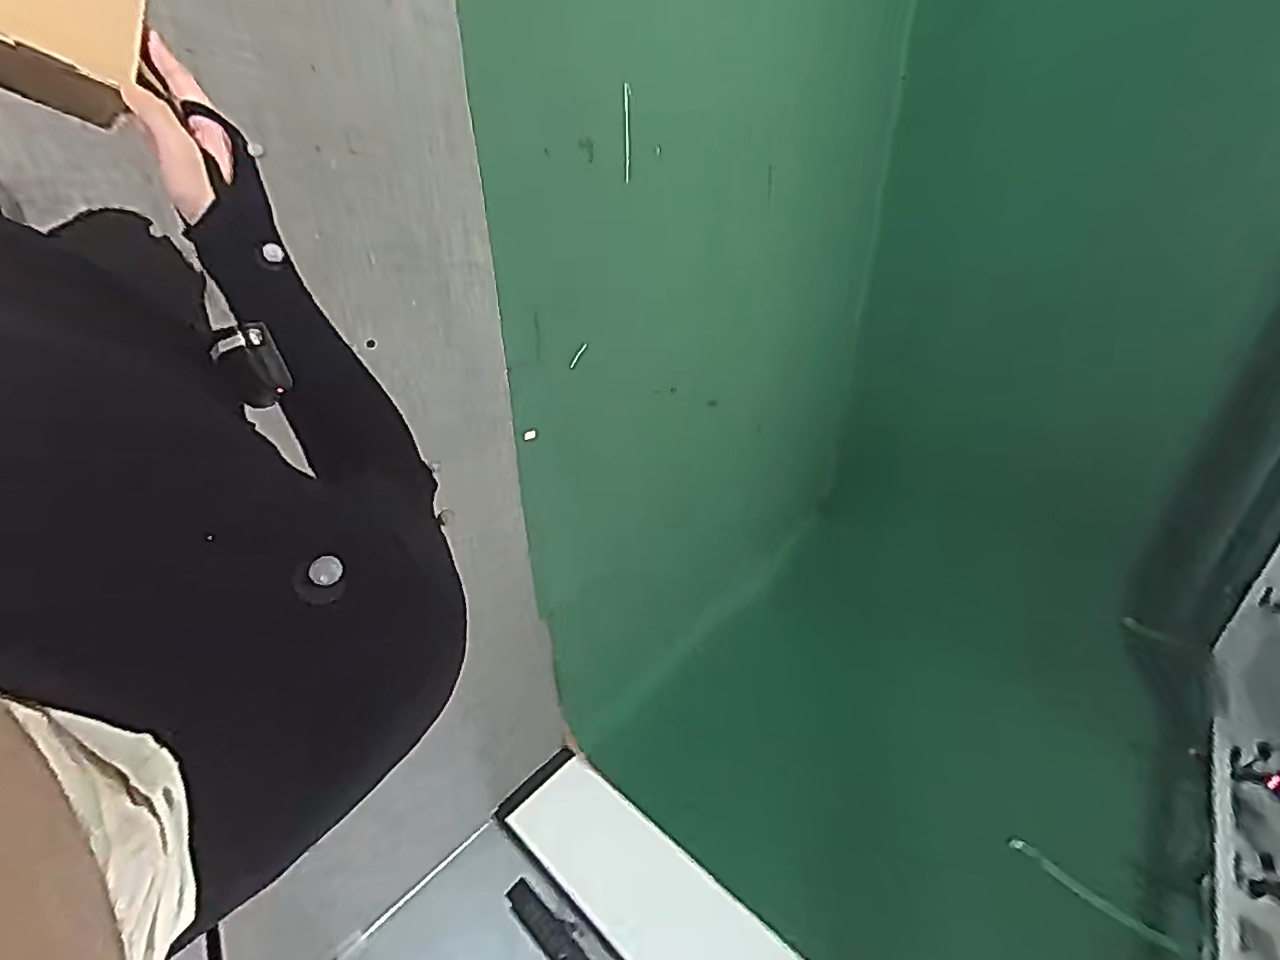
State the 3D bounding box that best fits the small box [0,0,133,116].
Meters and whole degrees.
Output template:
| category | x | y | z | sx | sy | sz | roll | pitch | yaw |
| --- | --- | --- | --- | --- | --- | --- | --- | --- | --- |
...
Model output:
| category | x | y | z | sx | sy | sz | roll | pitch | yaw |
| --- | --- | --- | --- | --- | --- | --- | --- | --- | --- |
| small box | -0.472 | -0.396 | 0.373 | 0.168 | 0.176 | 0.179 | 5 | 100 | -50 |
